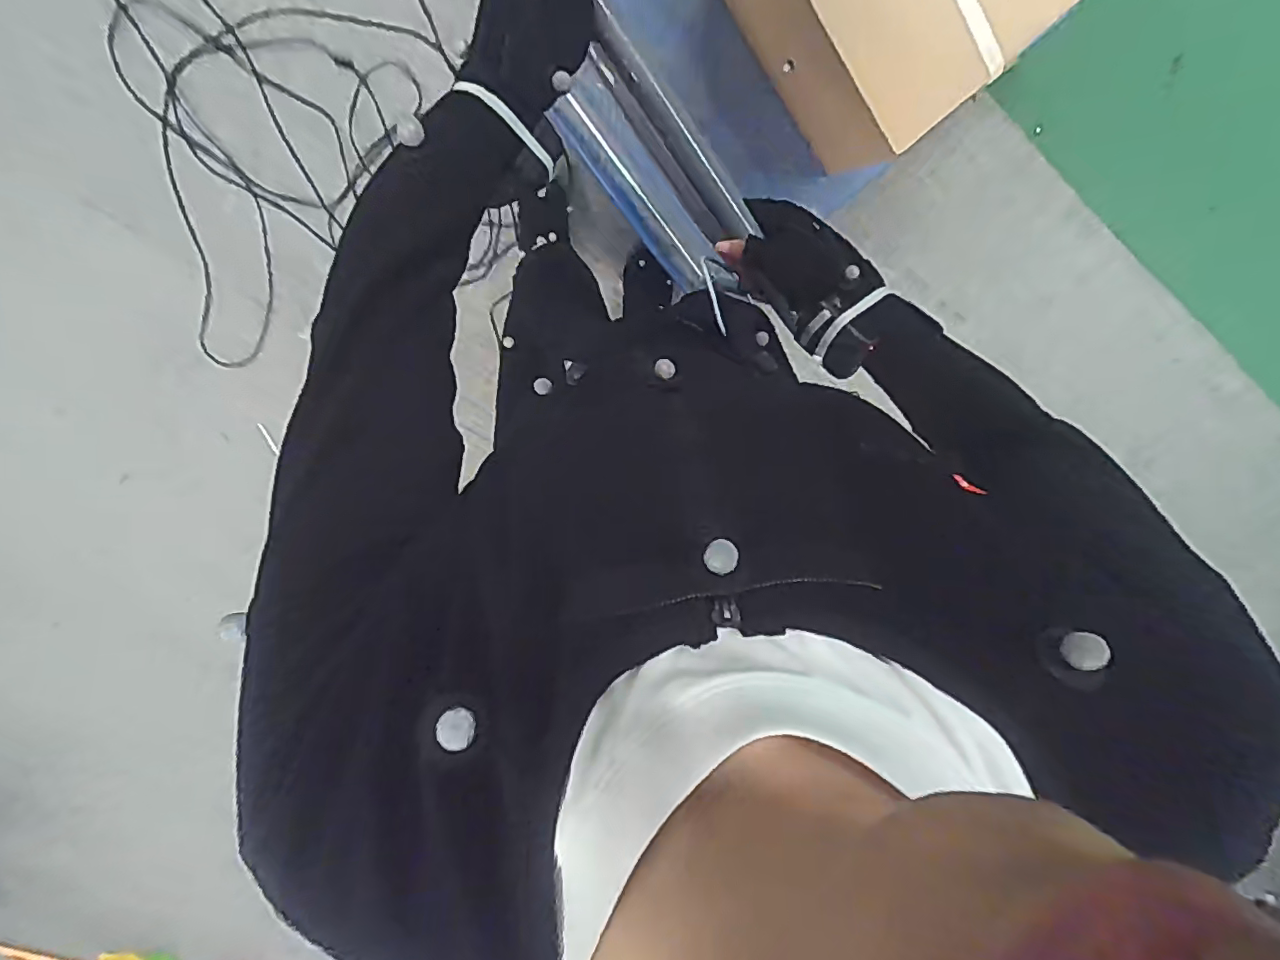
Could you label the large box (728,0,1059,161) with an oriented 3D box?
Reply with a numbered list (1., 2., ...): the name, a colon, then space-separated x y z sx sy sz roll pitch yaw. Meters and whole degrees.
1. large box: 0.363 -0.787 0.834 0.320 0.320 0.408 -39 110 16
